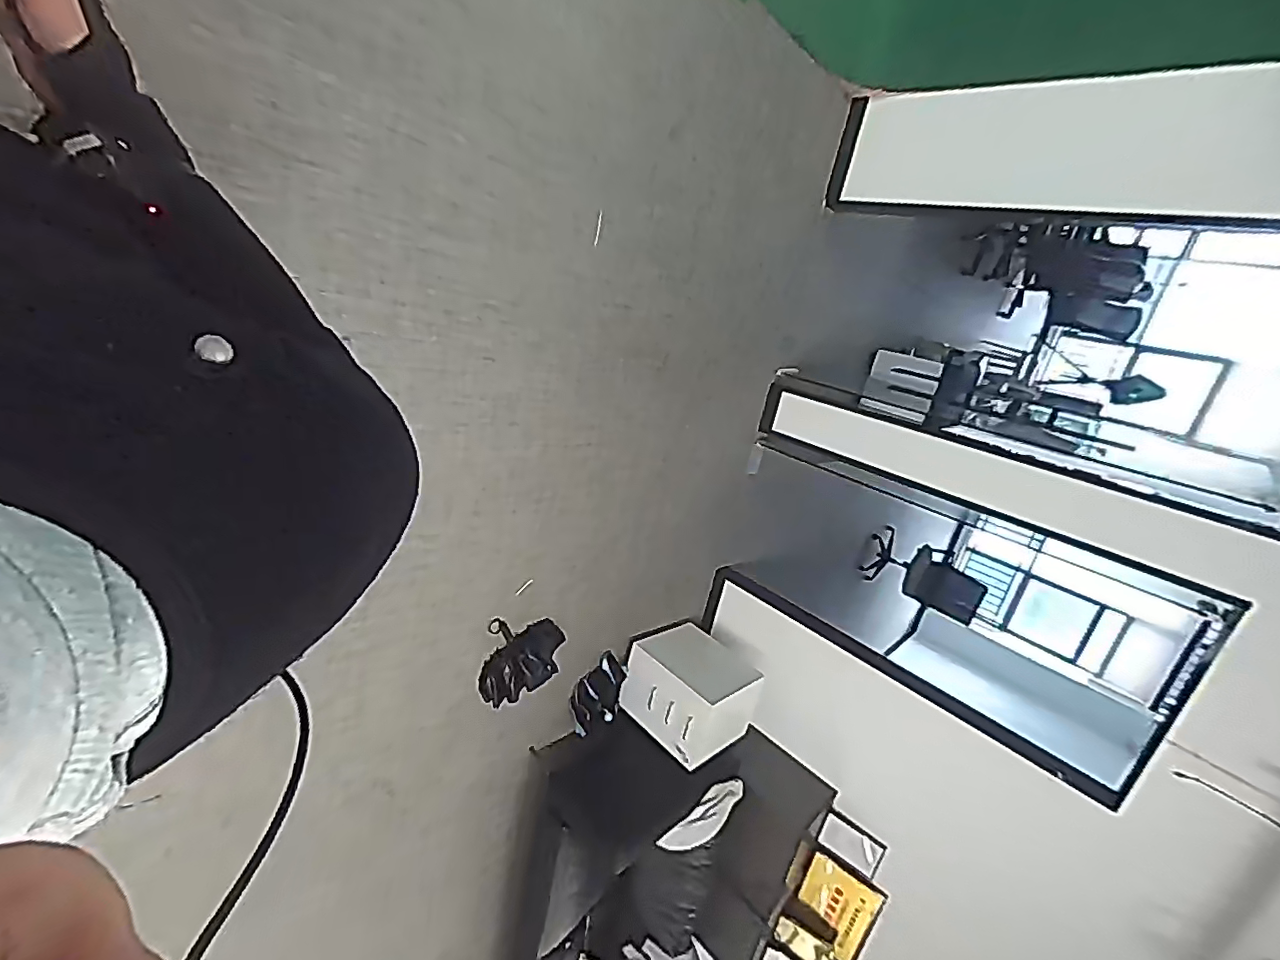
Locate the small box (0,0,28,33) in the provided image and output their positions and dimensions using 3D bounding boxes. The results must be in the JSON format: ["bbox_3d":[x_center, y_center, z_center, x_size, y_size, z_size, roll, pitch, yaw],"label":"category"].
[{"bbox_3d":[-0.454,-0.349,0.255,0.179,0.176,0.168,-14,117,-37],"label":"small box"}]
